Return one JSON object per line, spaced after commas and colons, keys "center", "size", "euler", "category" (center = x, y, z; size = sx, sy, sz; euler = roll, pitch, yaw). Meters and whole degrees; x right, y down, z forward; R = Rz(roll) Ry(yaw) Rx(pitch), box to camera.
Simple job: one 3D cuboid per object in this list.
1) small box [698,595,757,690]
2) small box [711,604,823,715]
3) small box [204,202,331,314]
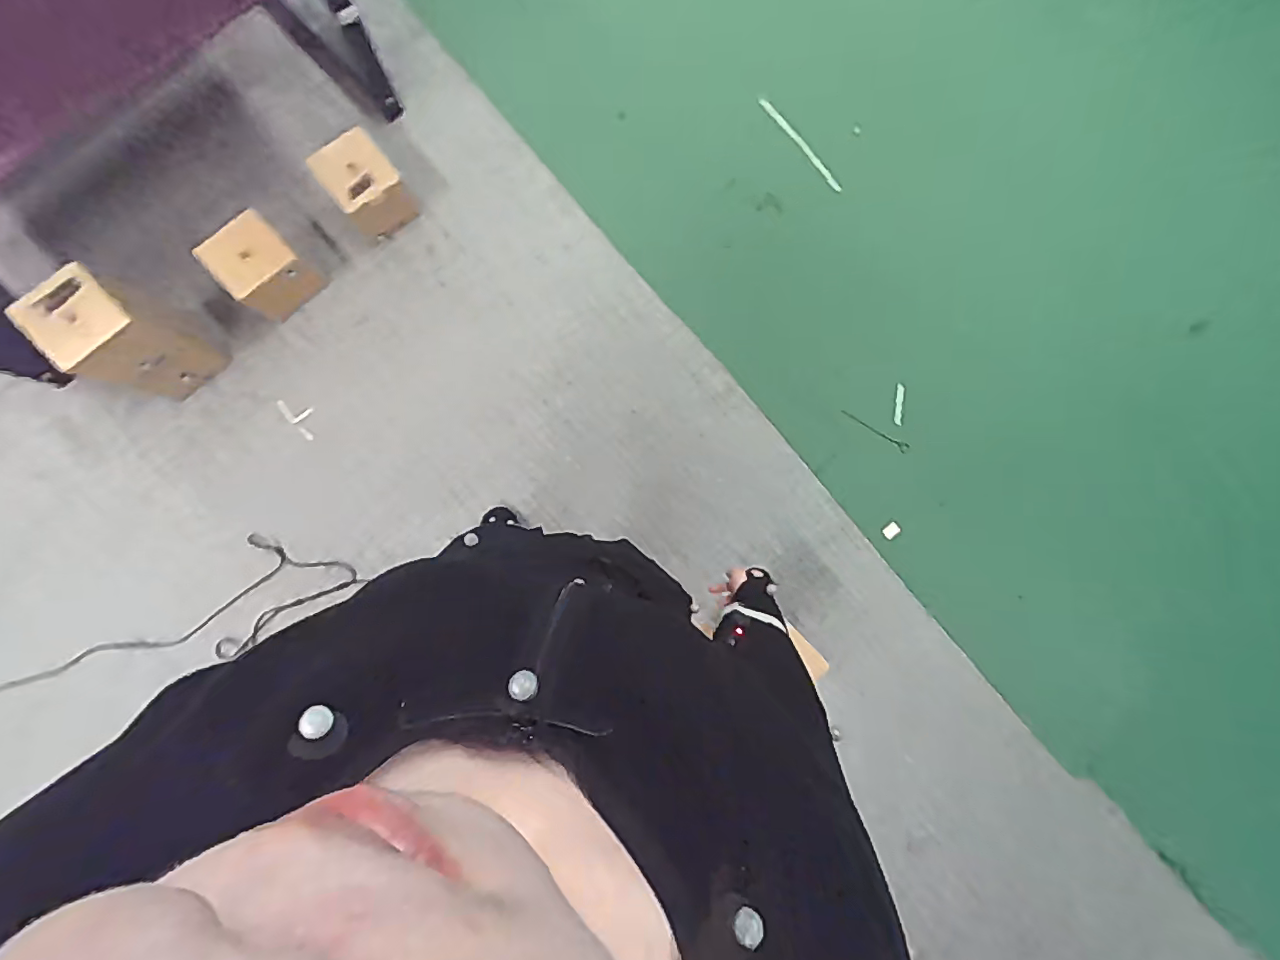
{"center": [0.277, 0.426, 1.448], "size": [0.168, 0.176, 0.179], "euler": [-41, 91, -5], "category": "small box"}
{"center": [0.291, 0.413, 1.284], "size": [0.168, 0.176, 0.179], "euler": [-43, 91, -5], "category": "small box"}
{"center": [-0.956, -0.566, 1.407], "size": [0.179, 0.176, 0.168], "euler": [-42, 91, -6], "category": "small box"}
